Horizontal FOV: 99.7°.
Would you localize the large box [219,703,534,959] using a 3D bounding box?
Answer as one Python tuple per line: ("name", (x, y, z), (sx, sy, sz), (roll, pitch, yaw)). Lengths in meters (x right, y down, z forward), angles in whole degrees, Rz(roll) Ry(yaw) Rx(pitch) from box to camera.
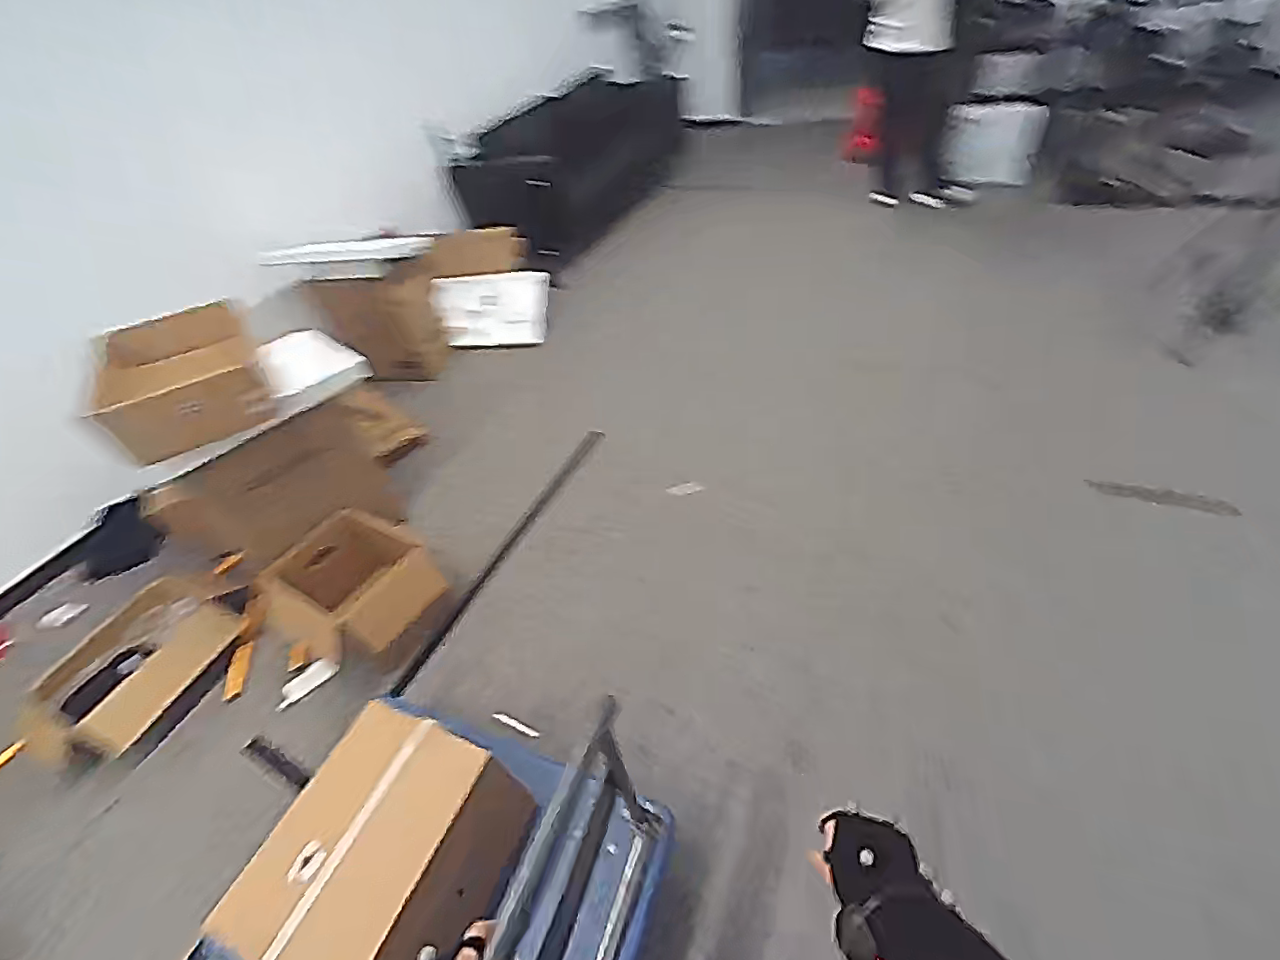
("large box", (-0.468, 0.730, 1.066), (0.320, 0.320, 0.408), (10, 49, 22))
